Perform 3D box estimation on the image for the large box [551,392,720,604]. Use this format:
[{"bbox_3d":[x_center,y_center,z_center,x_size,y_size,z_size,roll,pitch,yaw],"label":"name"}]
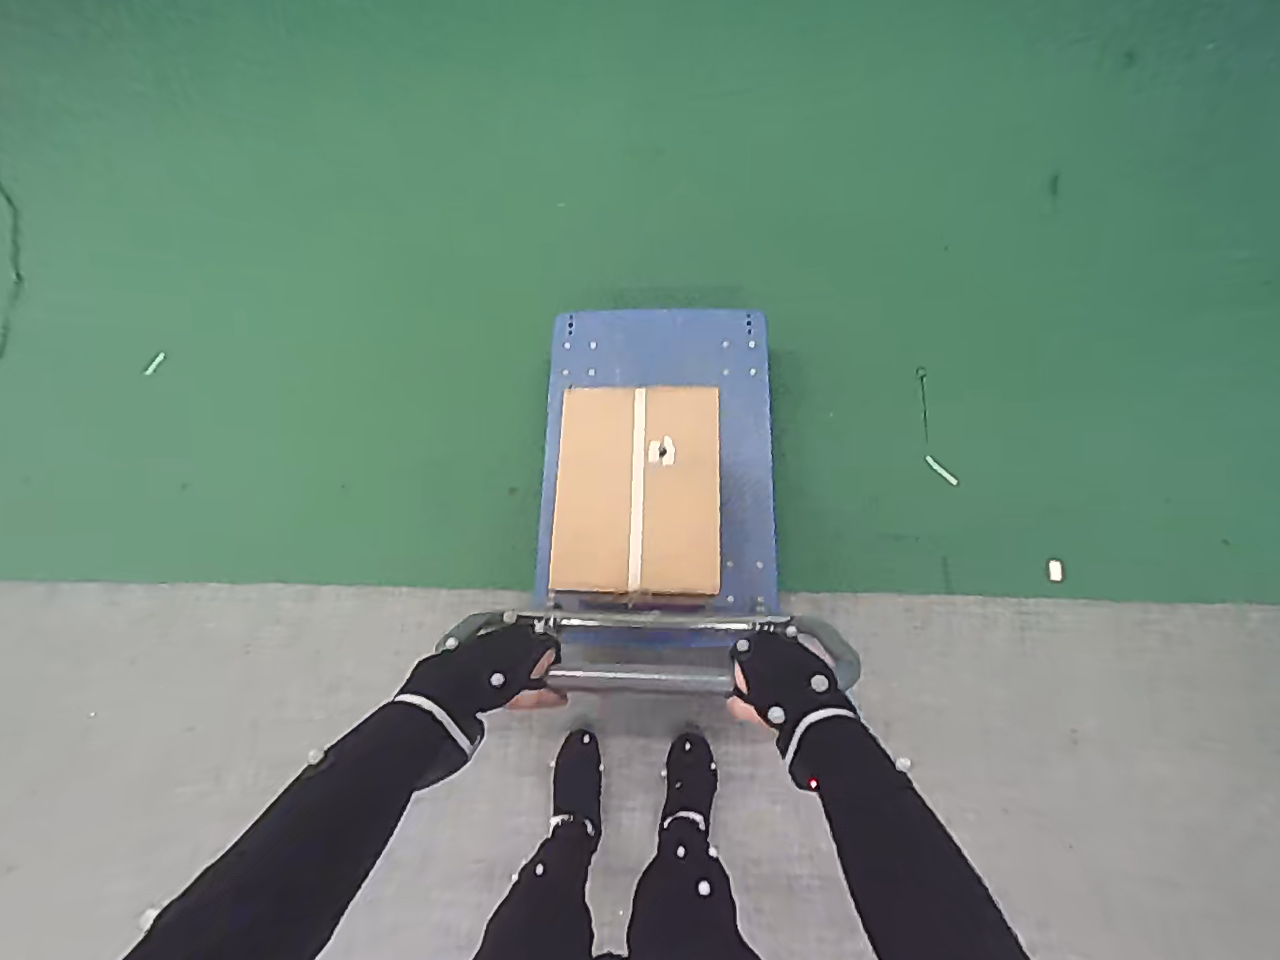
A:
[{"bbox_3d":[0.002,0.056,1.179,0.320,0.320,0.408,1,73,3],"label":"large box"}]
